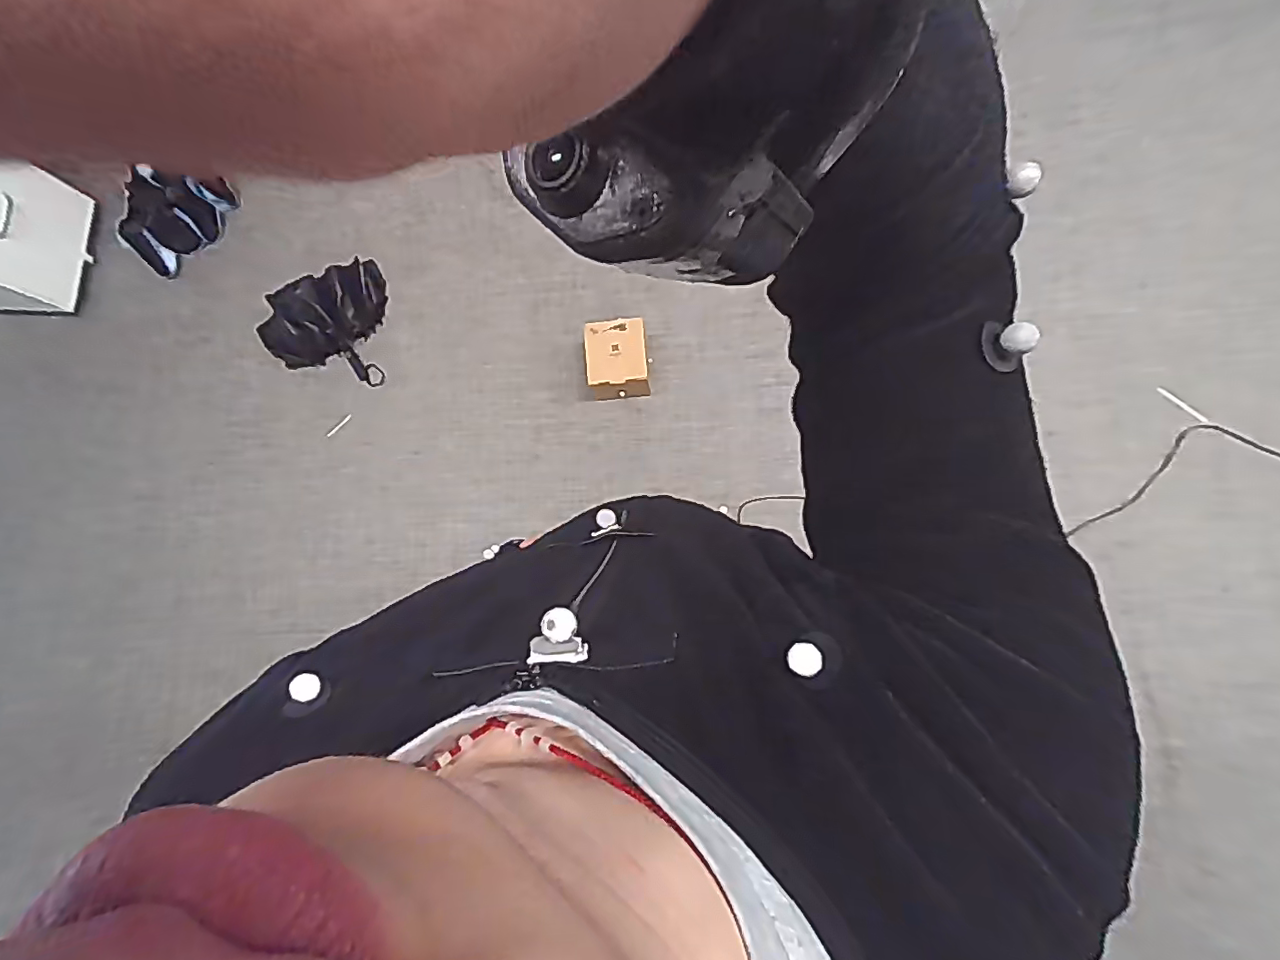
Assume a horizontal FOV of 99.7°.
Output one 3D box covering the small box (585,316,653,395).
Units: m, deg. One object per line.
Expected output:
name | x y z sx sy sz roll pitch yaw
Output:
small box | -0.056 -0.347 1.543 0.168 0.176 0.179 -5 85 6
